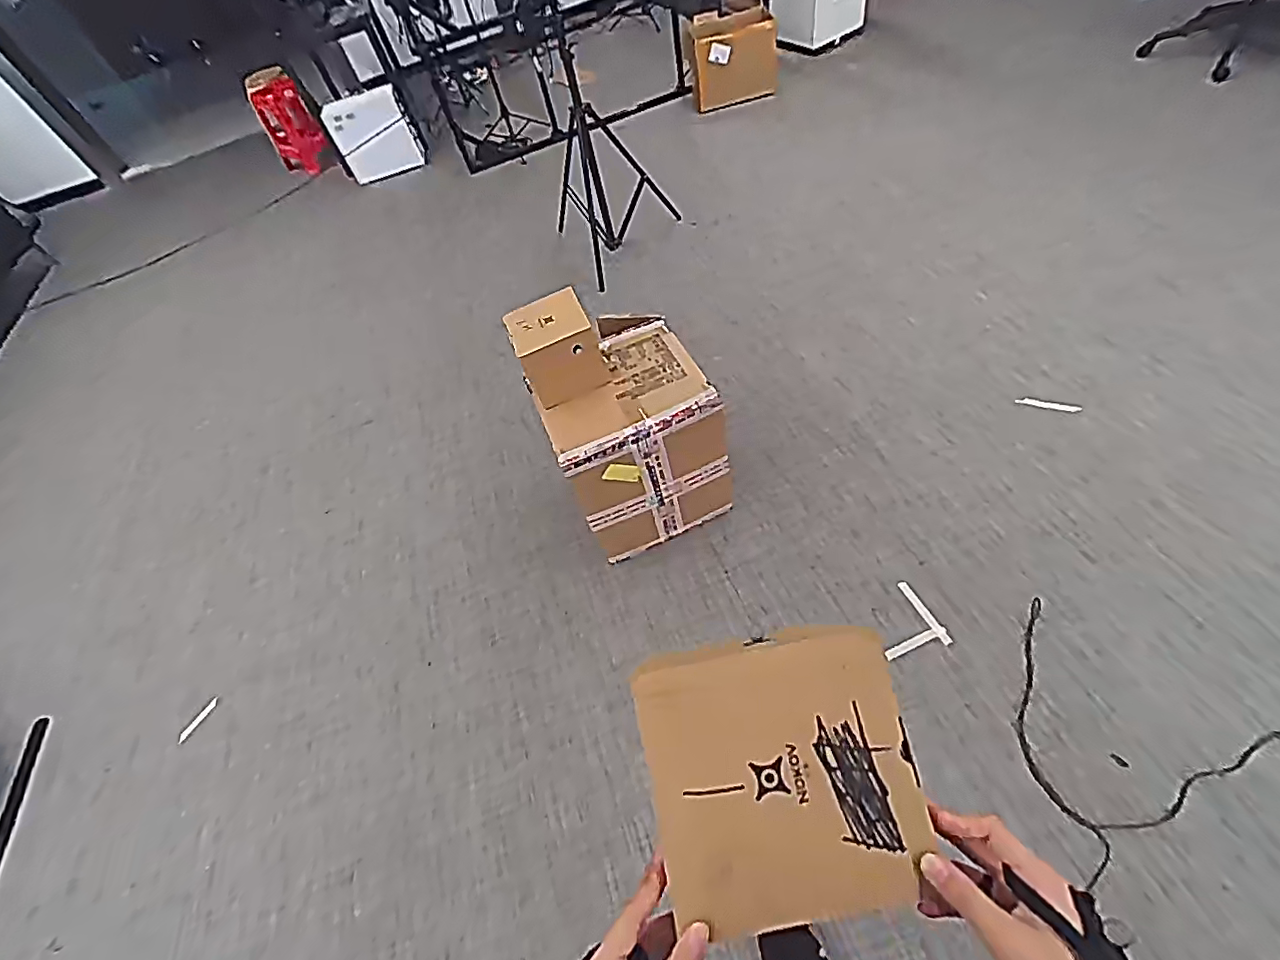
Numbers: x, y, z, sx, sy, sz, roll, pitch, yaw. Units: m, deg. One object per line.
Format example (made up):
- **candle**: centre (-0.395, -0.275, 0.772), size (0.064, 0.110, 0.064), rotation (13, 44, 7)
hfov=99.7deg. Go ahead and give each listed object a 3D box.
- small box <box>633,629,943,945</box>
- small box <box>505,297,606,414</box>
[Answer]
- **small box**: centre (0.097, 0.219, 0.438), size (0.179, 0.176, 0.168), rotation (-12, 75, 0)
- **small box**: centre (-0.190, -0.288, 1.269), size (0.179, 0.176, 0.168), rotation (-24, 53, -1)
